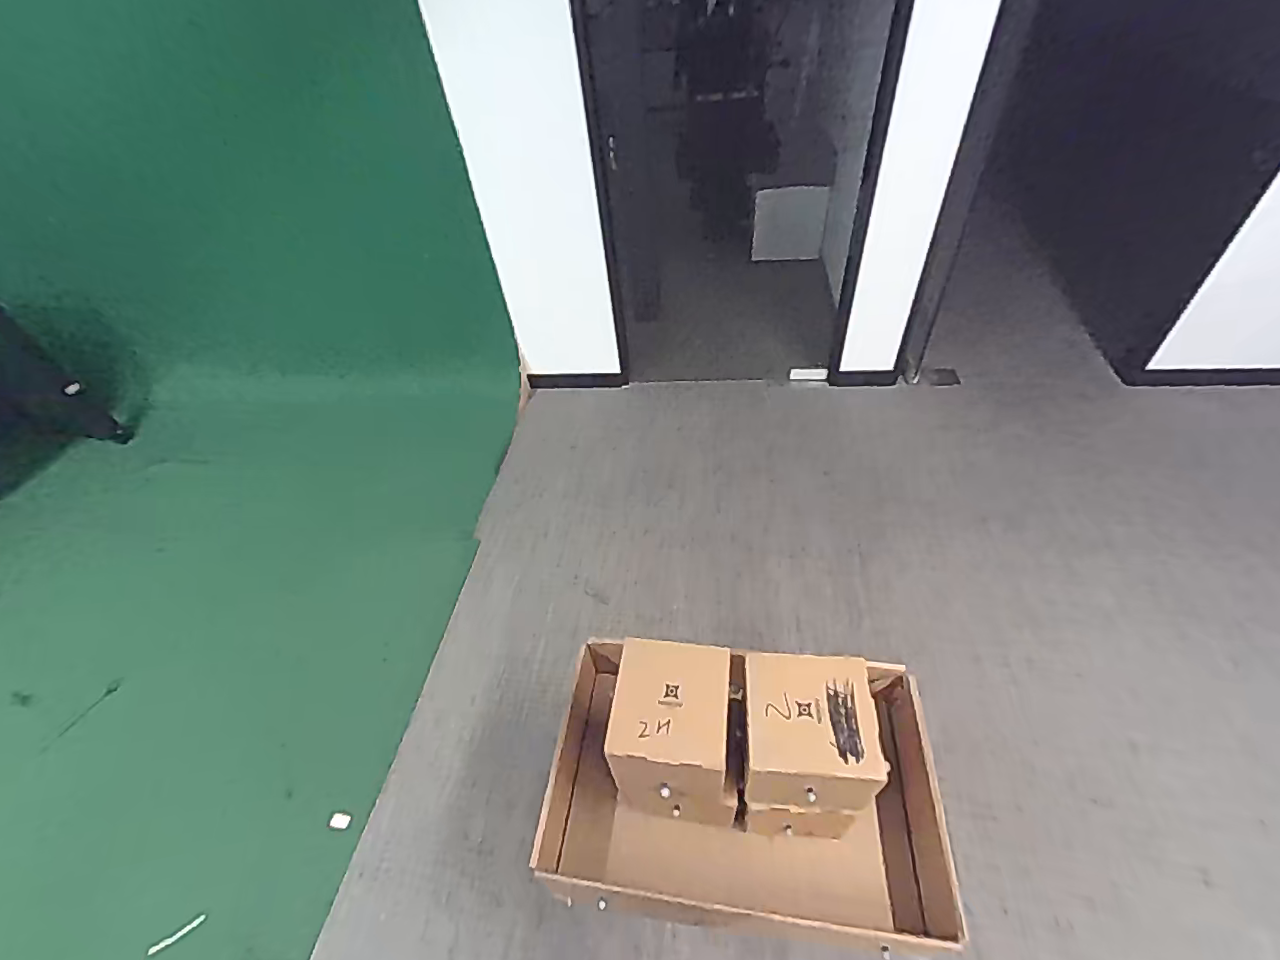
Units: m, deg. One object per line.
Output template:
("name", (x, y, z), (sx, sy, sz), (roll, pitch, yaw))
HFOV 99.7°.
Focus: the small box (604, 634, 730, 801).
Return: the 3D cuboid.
("small box", (0.049, 0.366, 0.835), (0.168, 0.176, 0.179), (3, 46, 10))
